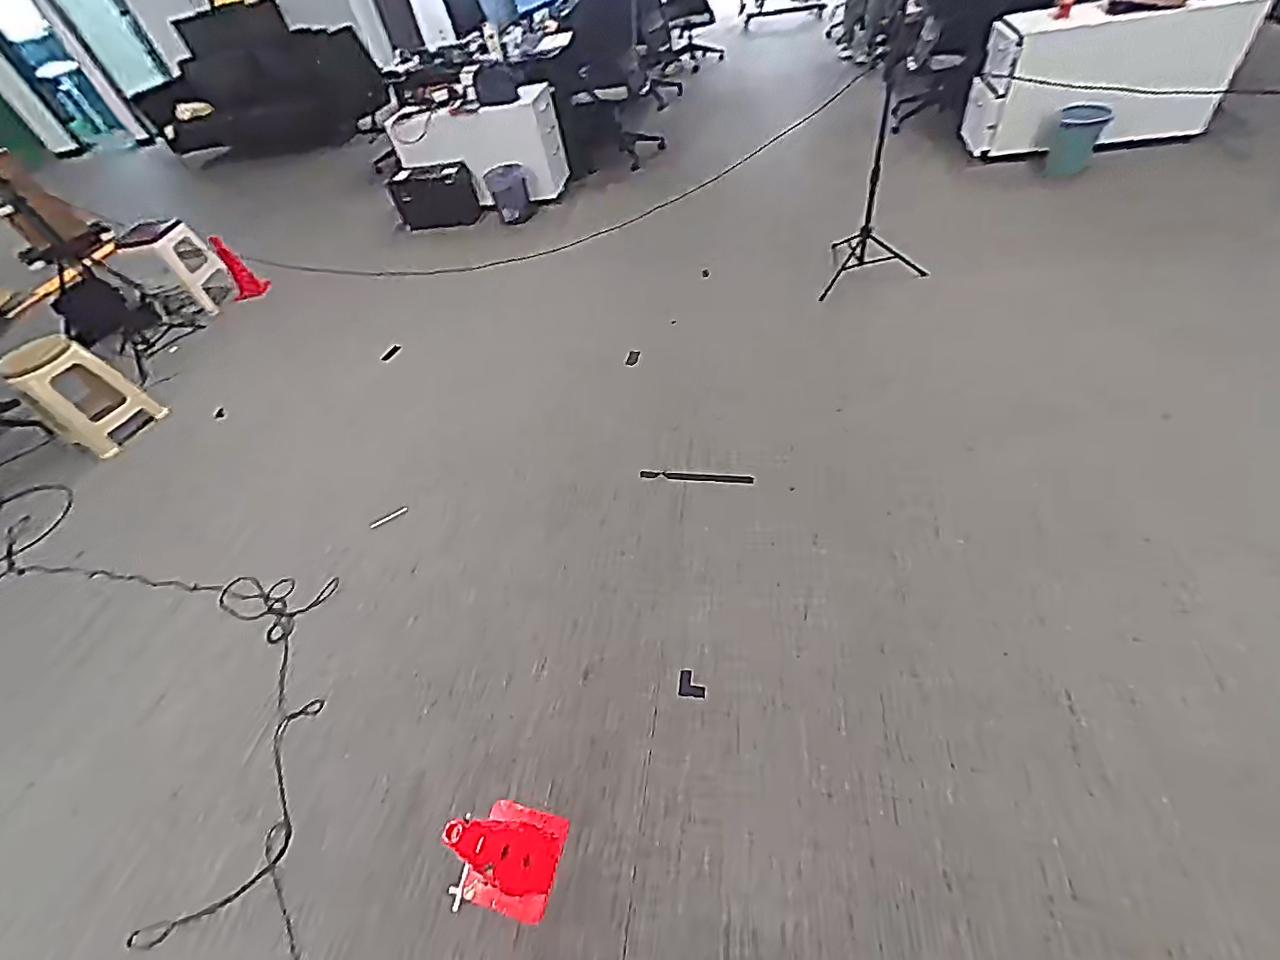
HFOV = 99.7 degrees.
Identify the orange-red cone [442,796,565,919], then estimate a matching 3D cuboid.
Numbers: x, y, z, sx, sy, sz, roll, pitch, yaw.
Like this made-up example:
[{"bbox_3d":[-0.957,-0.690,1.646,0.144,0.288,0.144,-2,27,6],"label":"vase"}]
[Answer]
[{"bbox_3d":[-0.312,0.741,1.102,0.199,0.360,0.198,9,52,17],"label":"orange-red cone"}]
